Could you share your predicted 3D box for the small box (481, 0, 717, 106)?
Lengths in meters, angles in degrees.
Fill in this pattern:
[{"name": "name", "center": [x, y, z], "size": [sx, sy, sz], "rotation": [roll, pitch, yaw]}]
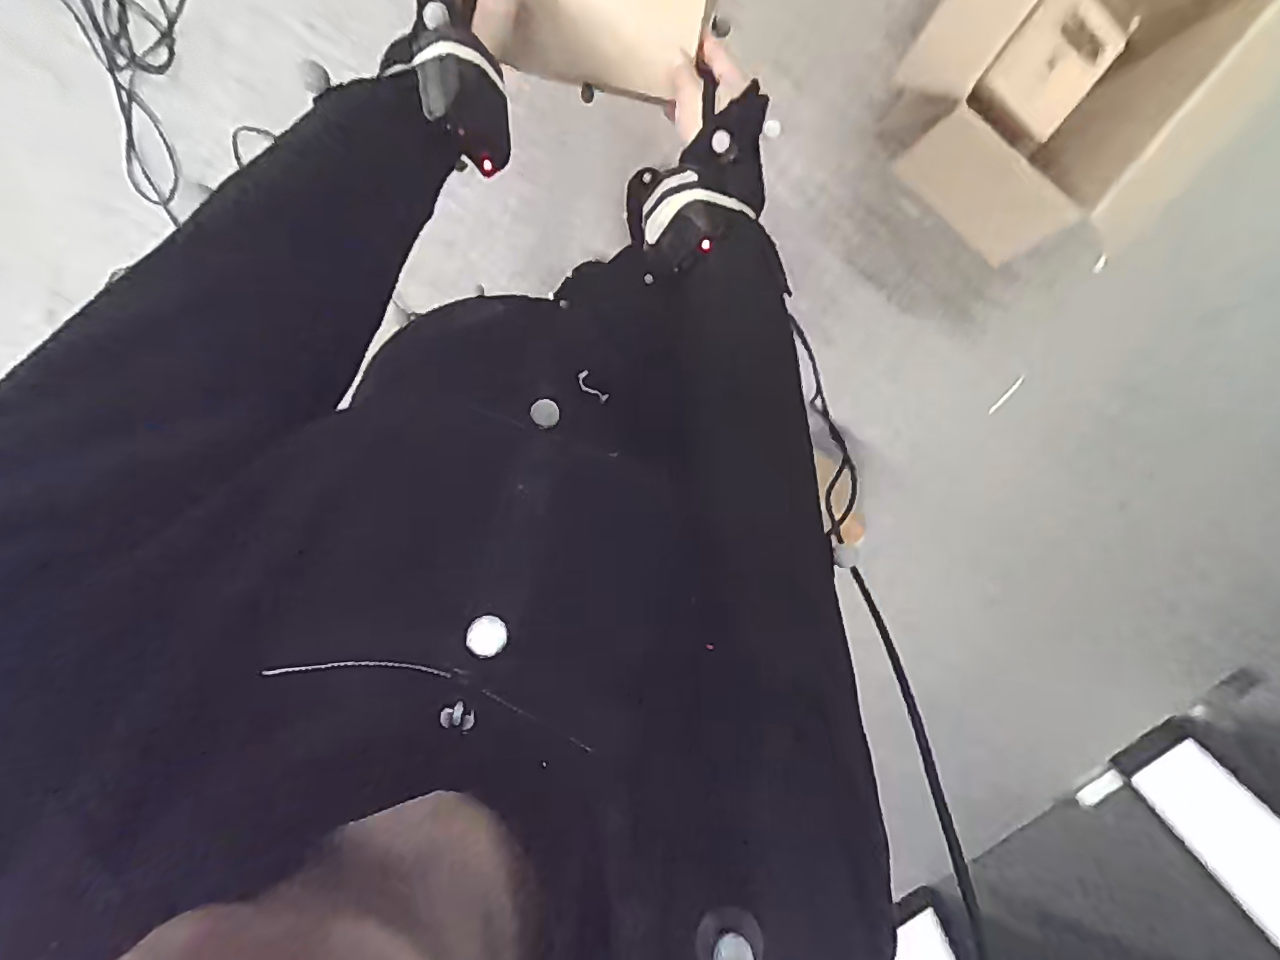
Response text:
[{"name": "small box", "center": [-0.022, -0.438, 0.468], "size": [0.179, 0.176, 0.168], "rotation": [12, 123, 0]}]
